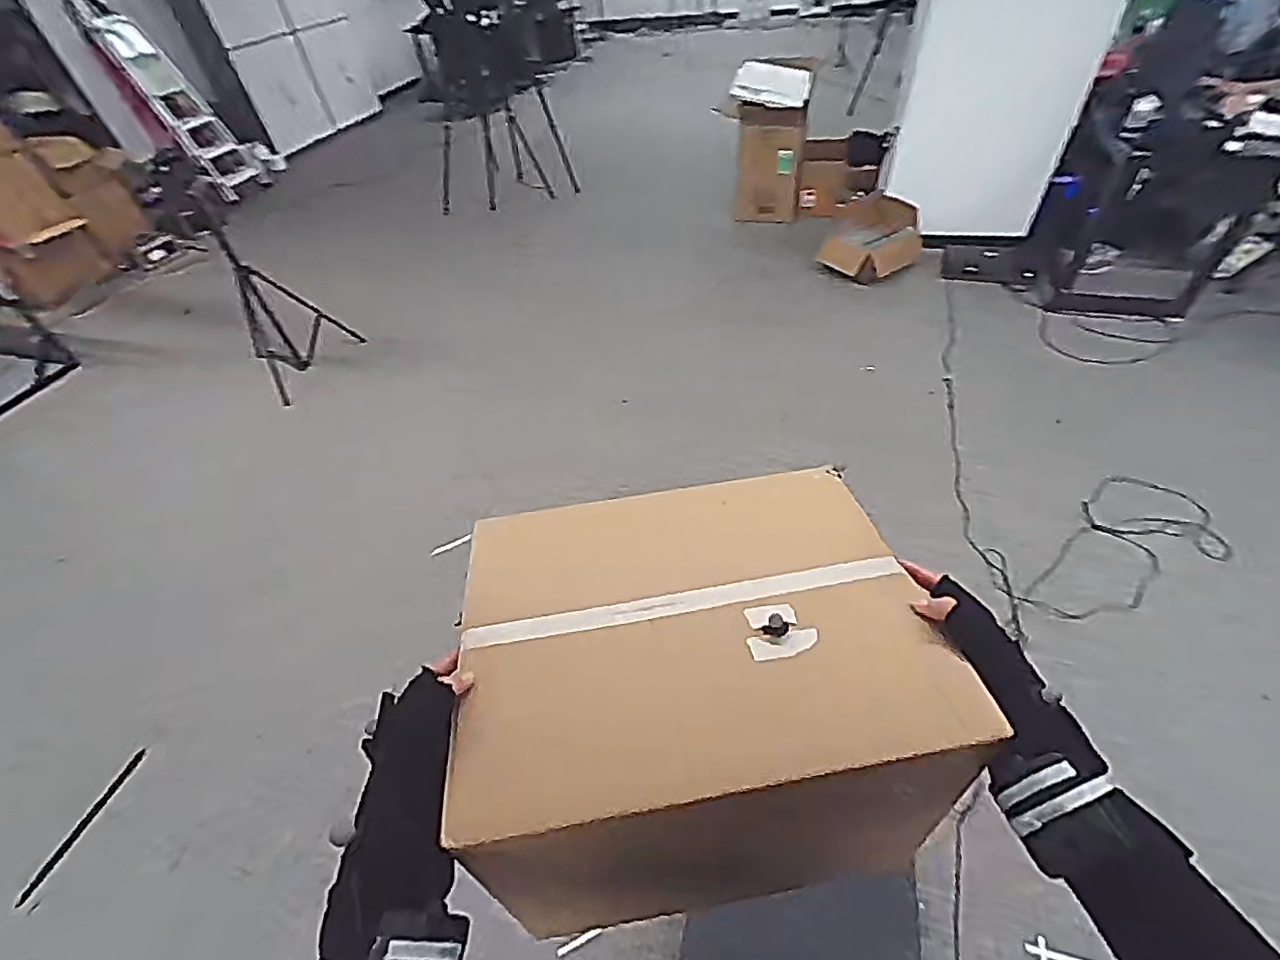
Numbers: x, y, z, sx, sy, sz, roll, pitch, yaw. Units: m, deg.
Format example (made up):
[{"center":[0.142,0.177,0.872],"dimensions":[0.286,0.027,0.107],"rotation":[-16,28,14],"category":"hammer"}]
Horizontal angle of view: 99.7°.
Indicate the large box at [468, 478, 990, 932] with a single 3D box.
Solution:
[{"center":[0.059,0.236,0.599],"dimensions":[0.408,0.320,0.320],"rotation":[-8,41,-4],"category":"large box"}]
